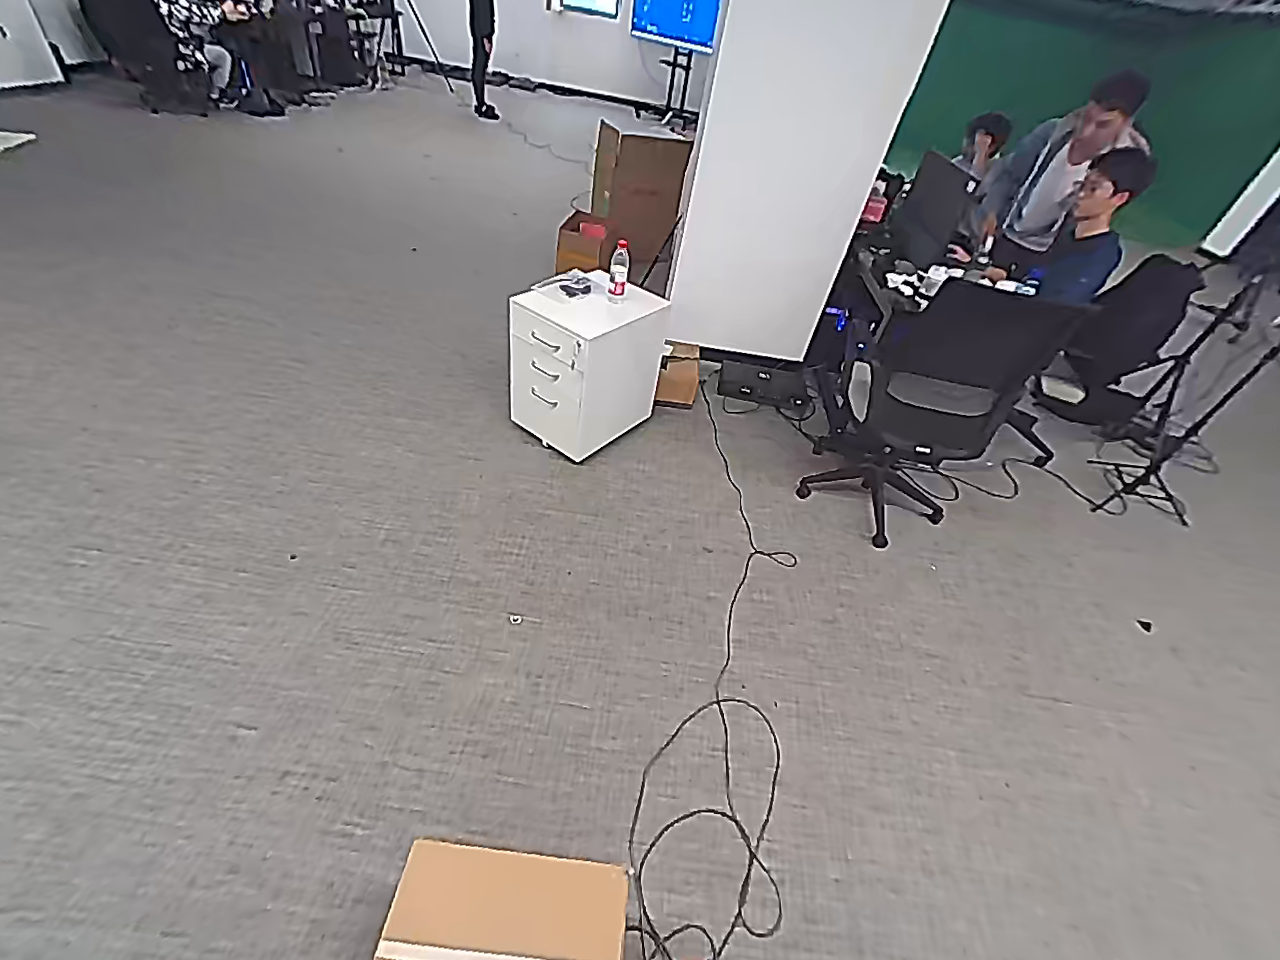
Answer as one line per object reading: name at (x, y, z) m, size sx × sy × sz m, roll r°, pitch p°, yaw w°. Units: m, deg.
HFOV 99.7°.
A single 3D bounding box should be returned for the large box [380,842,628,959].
large box at (-0.249, 0.911, 0.993) m, size 0.408 × 0.320 × 0.320 m, roll 9°, pitch 41°, yaw -2°
